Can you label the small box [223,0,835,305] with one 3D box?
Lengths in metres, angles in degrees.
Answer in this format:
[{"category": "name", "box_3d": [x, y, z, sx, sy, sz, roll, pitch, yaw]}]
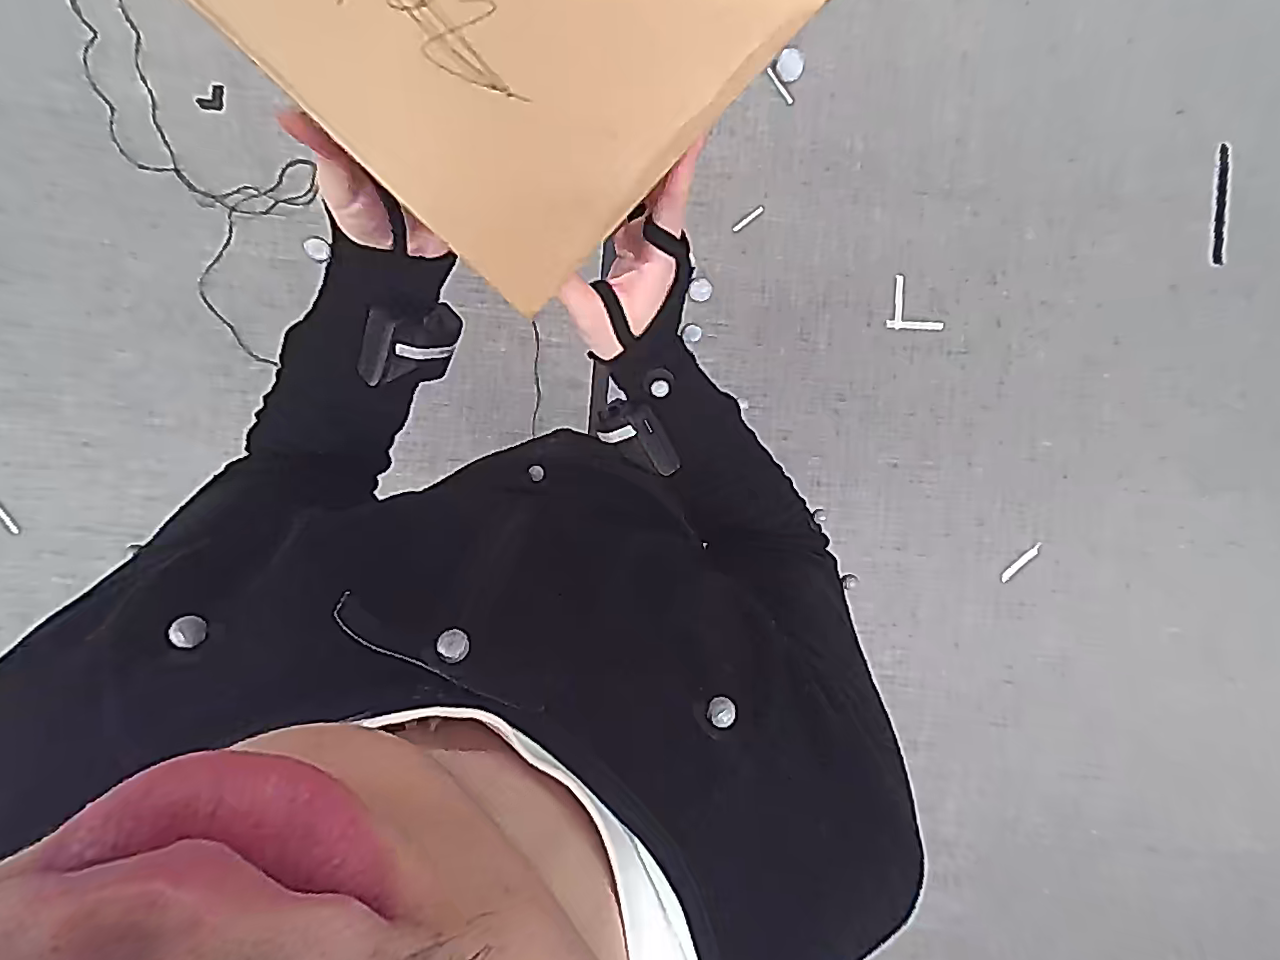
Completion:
[{"category": "small box", "box_3d": [-0.031, -0.205, 0.211, 0.168, 0.176, 0.179, 41, 111, -21]}]
